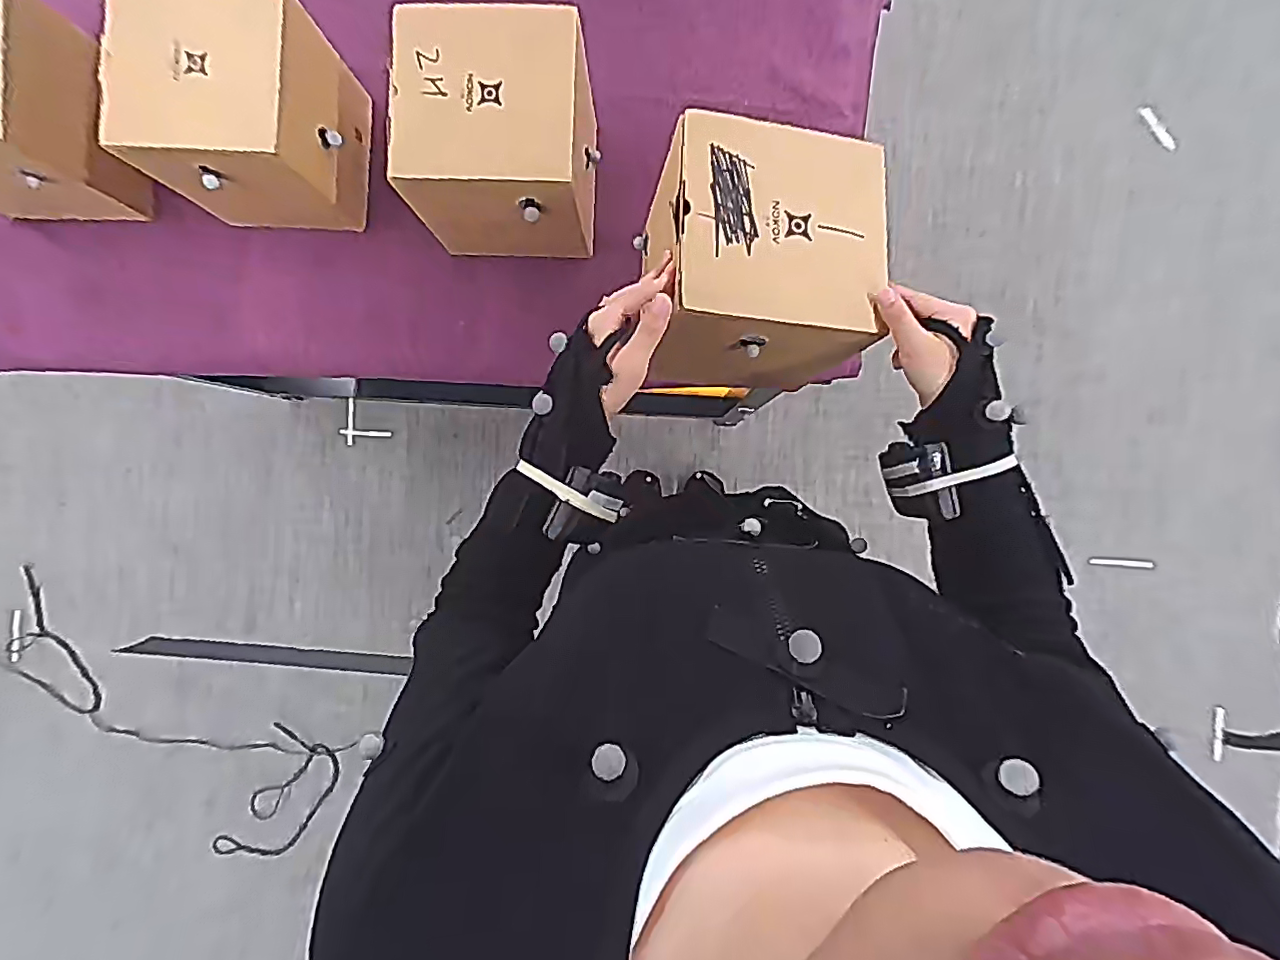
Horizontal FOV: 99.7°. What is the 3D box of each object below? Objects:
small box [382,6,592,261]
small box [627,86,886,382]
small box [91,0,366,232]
[{"bbox_3d":[-0.147,-0.349,0.576,0.179,0.176,0.168,2,89,1],"label":"small box"},{"bbox_3d":[0.091,-0.195,0.486,0.179,0.176,0.168,4,83,-16],"label":"small box"},{"bbox_3d":[-0.422,-0.386,0.584,0.179,0.176,0.168,3,91,1],"label":"small box"}]
